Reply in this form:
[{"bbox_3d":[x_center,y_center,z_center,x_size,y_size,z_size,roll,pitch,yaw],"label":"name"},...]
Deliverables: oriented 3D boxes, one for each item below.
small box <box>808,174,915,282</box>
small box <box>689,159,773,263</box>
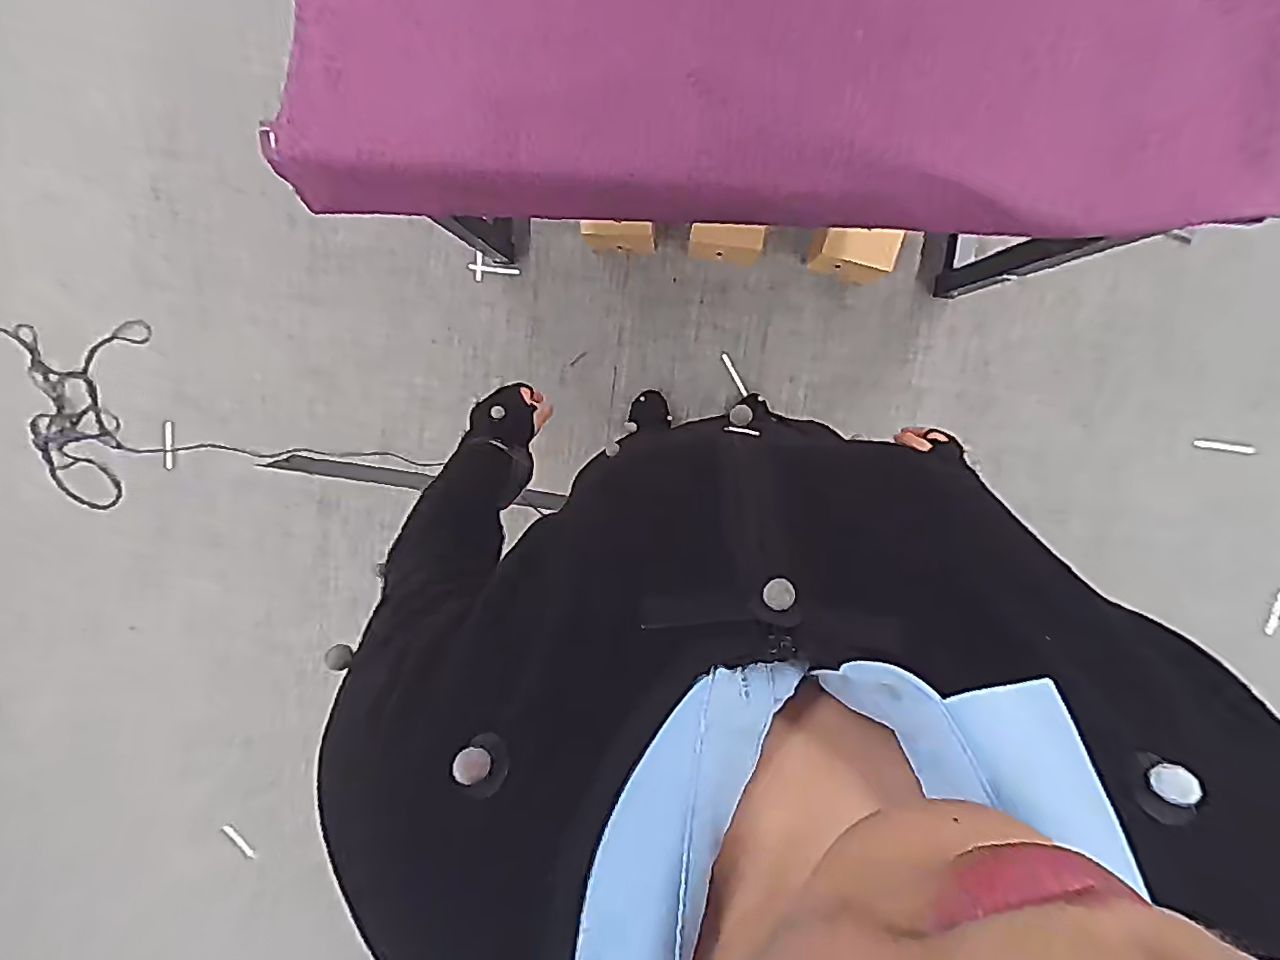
[{"bbox_3d":[0.516,-0.590,1.291,0.168,0.176,0.179,15,100,1],"label":"small box"},{"bbox_3d":[0.210,-0.635,1.298,0.168,0.176,0.179,8,100,1],"label":"small box"}]
